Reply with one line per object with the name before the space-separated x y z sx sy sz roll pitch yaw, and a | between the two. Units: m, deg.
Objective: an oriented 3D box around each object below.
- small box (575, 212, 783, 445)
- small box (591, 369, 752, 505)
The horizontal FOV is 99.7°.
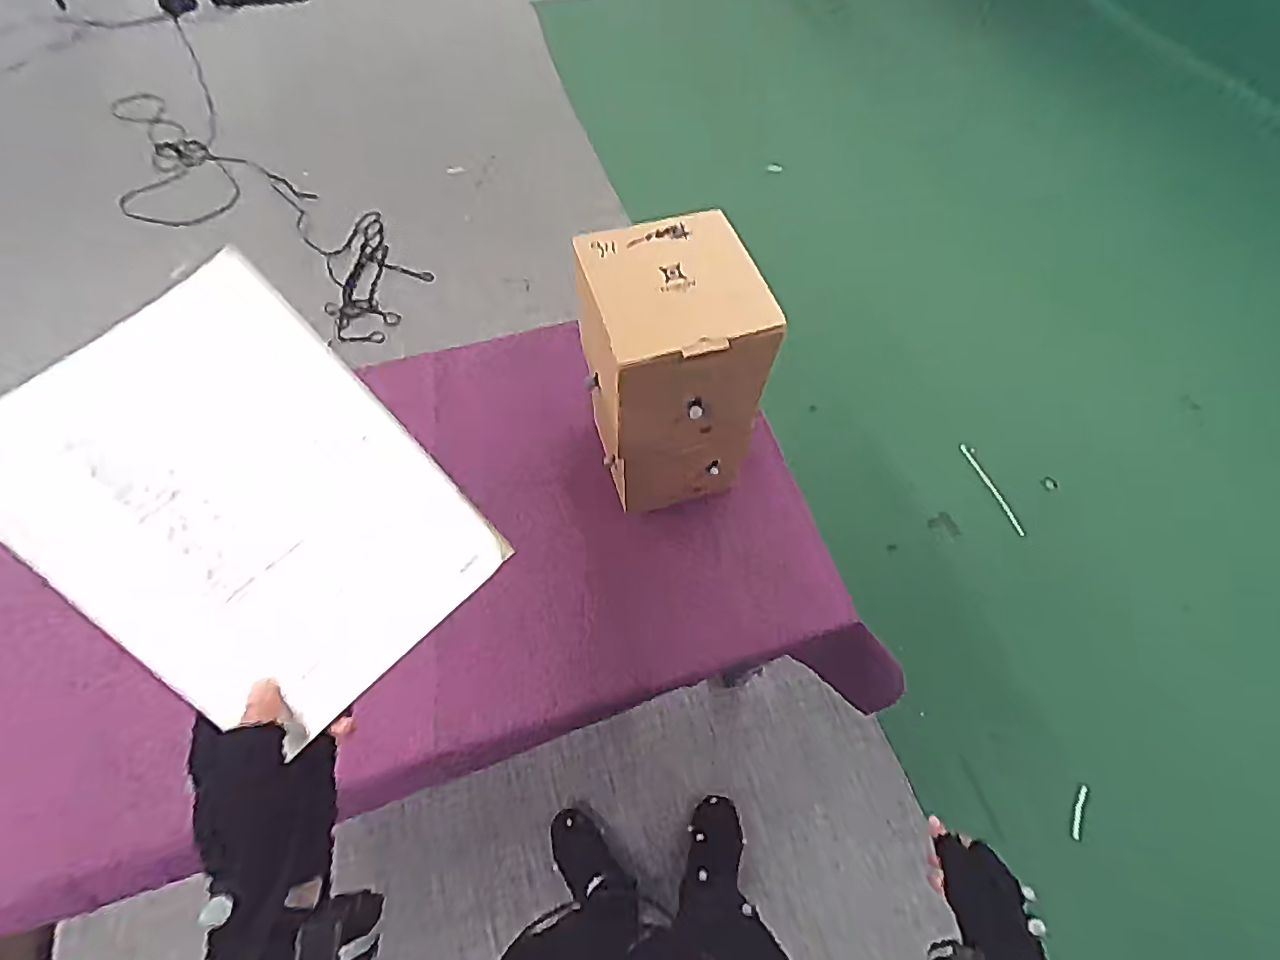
small box | 0.032 -0.154 0.595 0.168 0.176 0.179 -14 64 -9
small box | 0.035 -0.081 0.742 0.168 0.176 0.179 -14 63 -9
